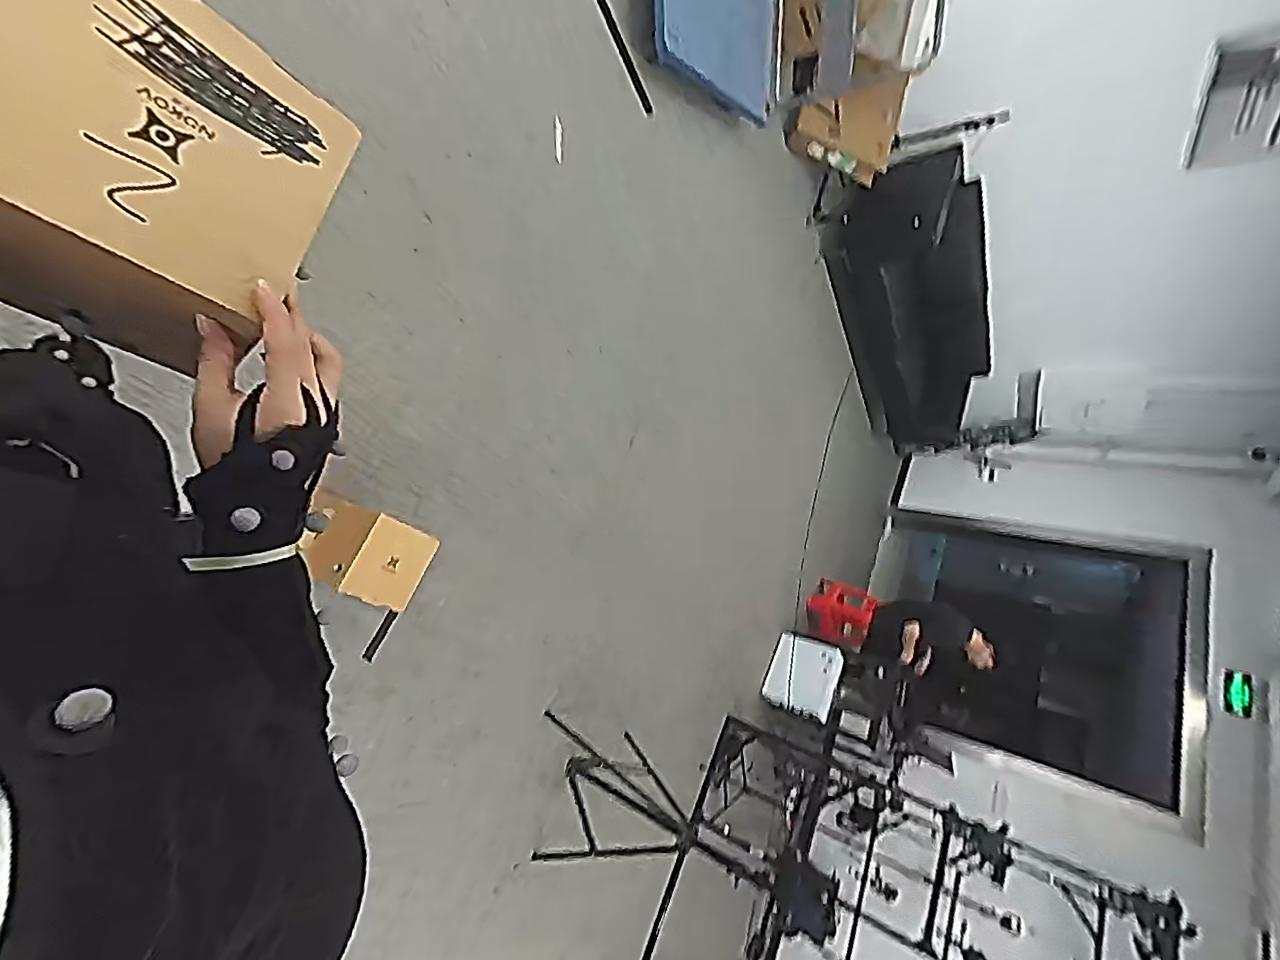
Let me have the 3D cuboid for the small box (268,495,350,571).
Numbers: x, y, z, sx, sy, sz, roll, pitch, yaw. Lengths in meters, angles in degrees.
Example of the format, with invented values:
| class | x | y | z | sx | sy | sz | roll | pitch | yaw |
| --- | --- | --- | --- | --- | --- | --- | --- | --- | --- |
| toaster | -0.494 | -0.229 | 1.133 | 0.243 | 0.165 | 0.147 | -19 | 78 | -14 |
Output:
| class | x | y | z | sx | sy | sz | roll | pitch | yaw |
| --- | --- | --- | --- | --- | --- | --- | --- | --- | --- |
| small box | -0.736 | 0.150 | 1.291 | 0.168 | 0.176 | 0.179 | -62 | 140 | -23 |

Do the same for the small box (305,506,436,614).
| class | x | y | z | sx | sy | sz | roll | pitch | yaw |
| --- | --- | --- | --- | --- | --- | --- | --- | --- | --- |
| small box | -0.601 | 0.172 | 1.202 | 0.168 | 0.176 | 0.179 | 44 | 63 | -48 |
